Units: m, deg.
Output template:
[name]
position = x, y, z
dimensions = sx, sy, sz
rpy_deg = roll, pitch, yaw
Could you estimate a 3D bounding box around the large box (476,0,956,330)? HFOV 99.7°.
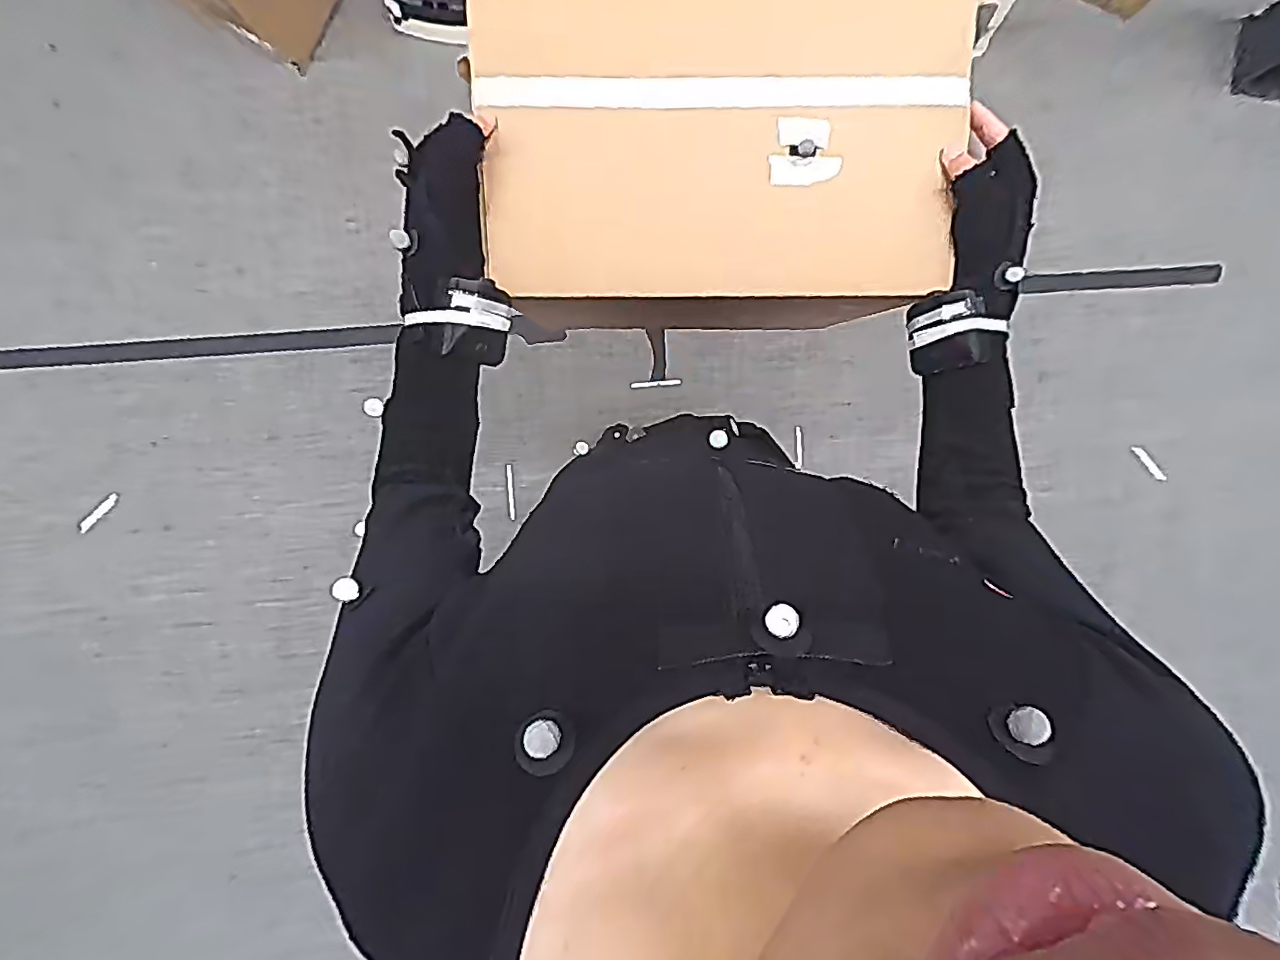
[large box]
position = 0.060, -0.346, 0.606
dimensions = 0.408, 0.320, 0.320
rpy_deg = -1, 101, -2
